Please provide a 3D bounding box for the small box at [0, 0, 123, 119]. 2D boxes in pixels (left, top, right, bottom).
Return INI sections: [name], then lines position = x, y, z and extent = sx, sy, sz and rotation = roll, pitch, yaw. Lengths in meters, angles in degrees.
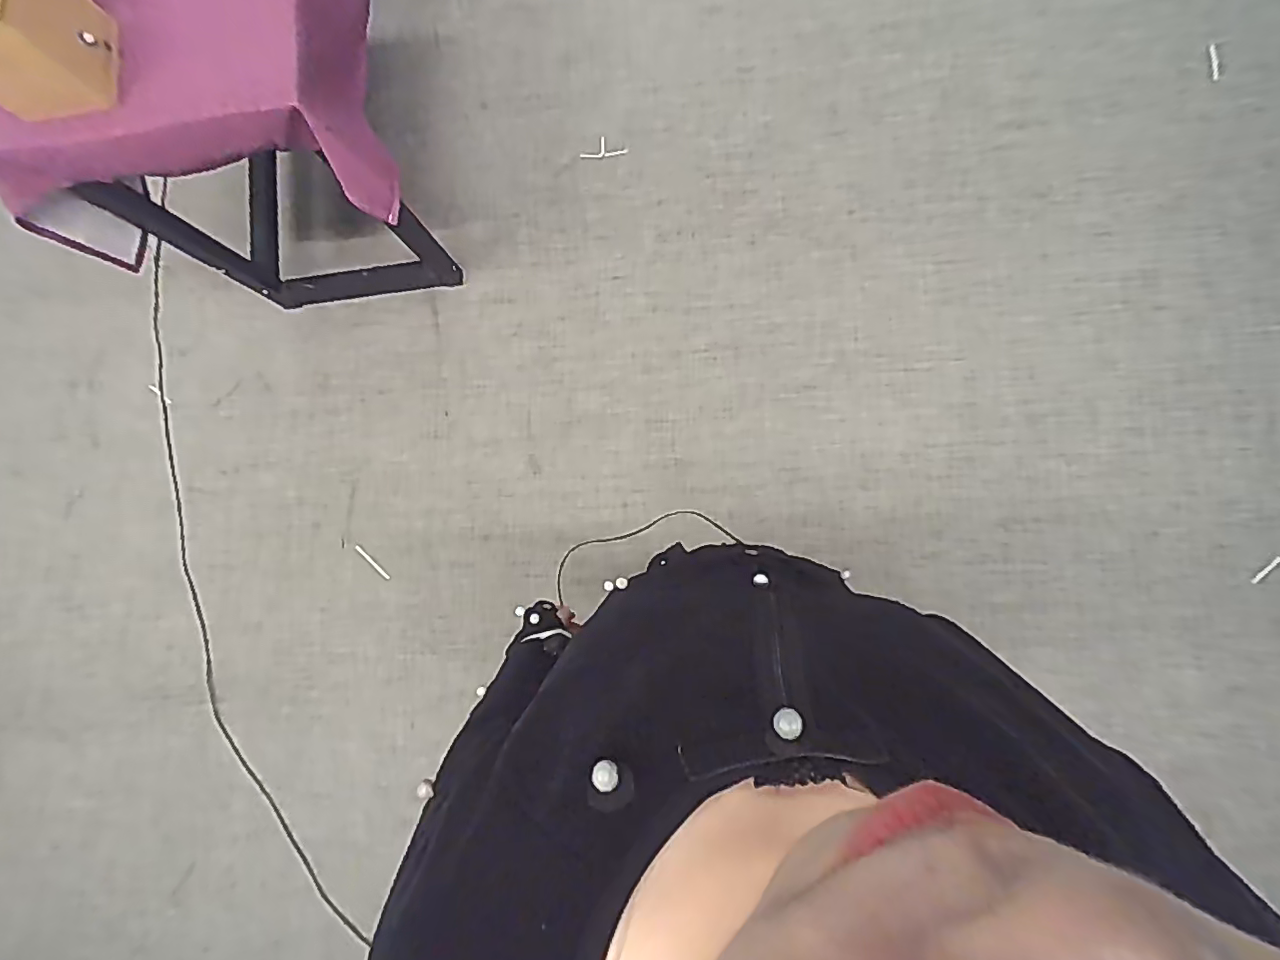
[small box]
position = -1.011, -0.727, 0.881
extent = 0.179, 0.176, 0.168
rotation = -5, 84, 4
